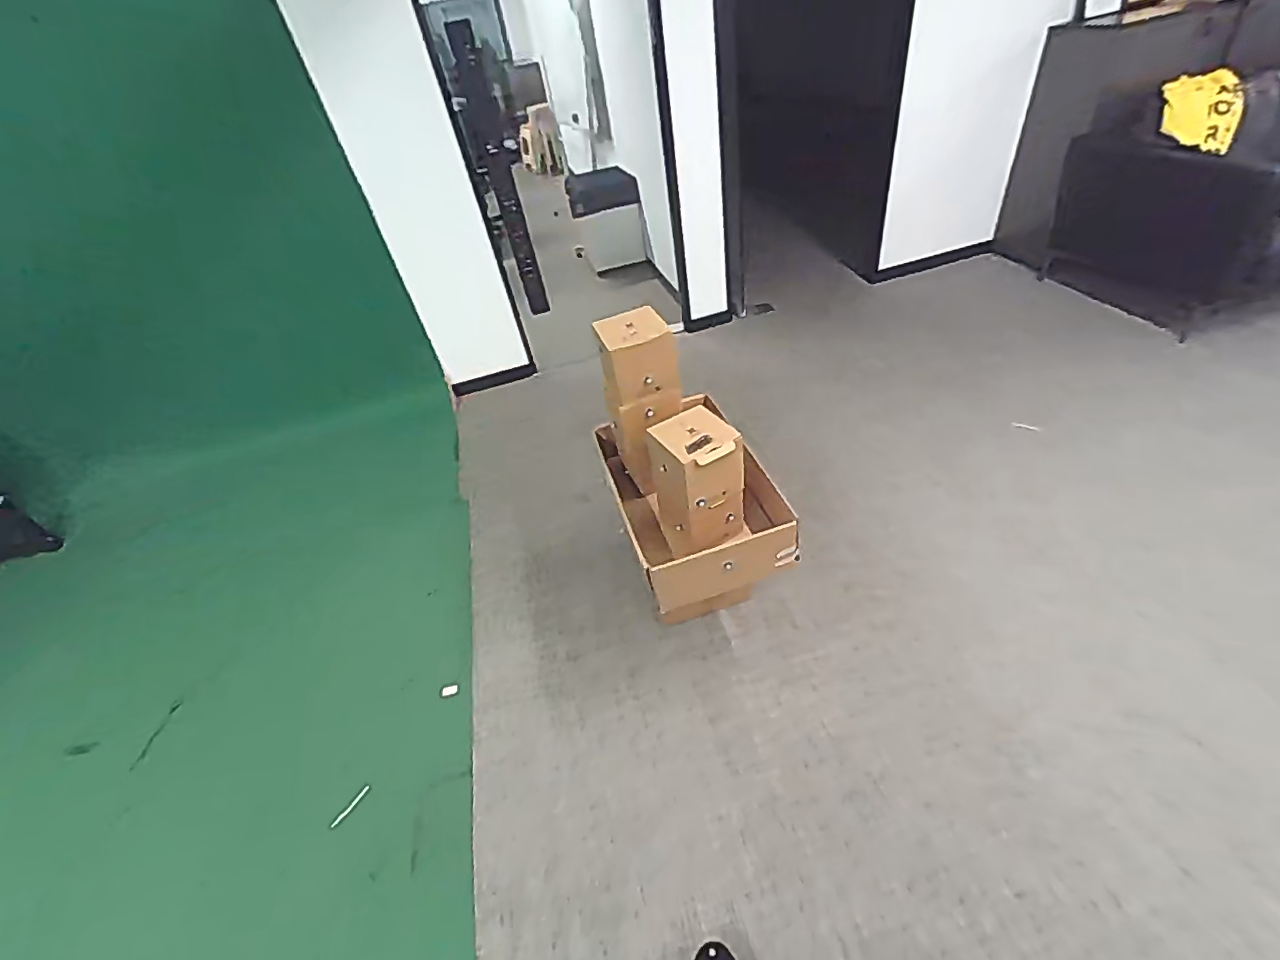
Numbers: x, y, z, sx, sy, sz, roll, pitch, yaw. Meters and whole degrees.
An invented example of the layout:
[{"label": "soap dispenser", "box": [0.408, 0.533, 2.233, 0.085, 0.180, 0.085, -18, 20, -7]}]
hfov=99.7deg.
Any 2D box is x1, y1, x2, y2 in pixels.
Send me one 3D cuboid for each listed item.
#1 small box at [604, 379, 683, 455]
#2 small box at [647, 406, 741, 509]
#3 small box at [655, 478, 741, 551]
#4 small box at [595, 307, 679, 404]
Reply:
[{"label": "small box", "box": [0.015, -0.200, 1.532, 0.179, 0.176, 0.168, -21, 43, -9]}, {"label": "small box", "box": [0.138, -0.050, 1.342, 0.168, 0.176, 0.179, -25, 43, -17]}, {"label": "small box", "box": [0.160, 0.069, 1.452, 0.168, 0.176, 0.179, -26, 43, -16]}, {"label": "small box", "box": [-0.008, -0.328, 1.430, 0.168, 0.176, 0.179, -20, 43, -7]}]
